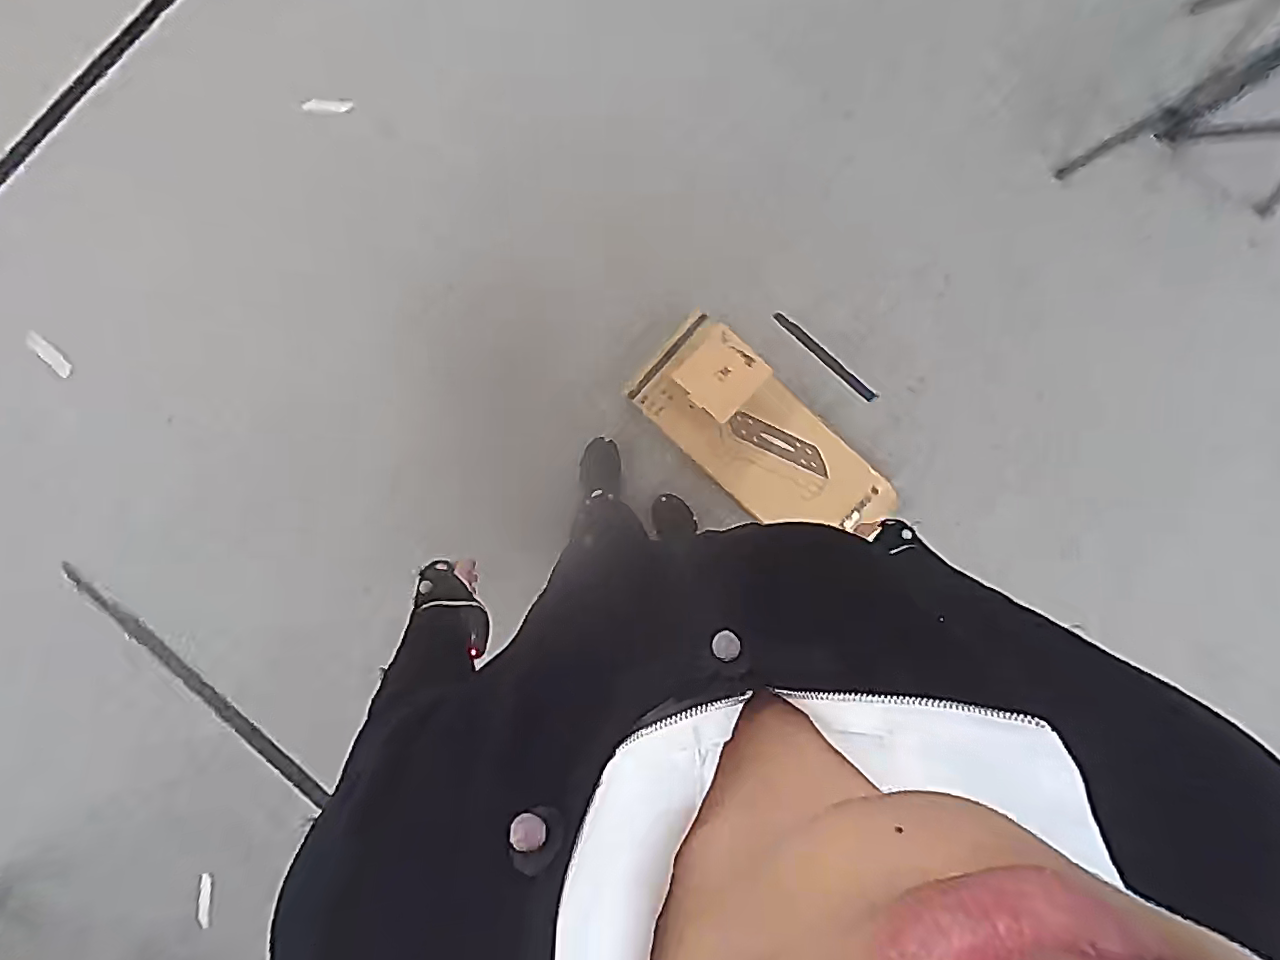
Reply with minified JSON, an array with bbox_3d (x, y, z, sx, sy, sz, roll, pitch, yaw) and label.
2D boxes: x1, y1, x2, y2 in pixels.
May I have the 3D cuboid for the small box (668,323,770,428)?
[{"bbox_3d":[0.184,-0.243,1.311,0.168,0.176,0.179,44,91,-1],"label":"small box"}]
